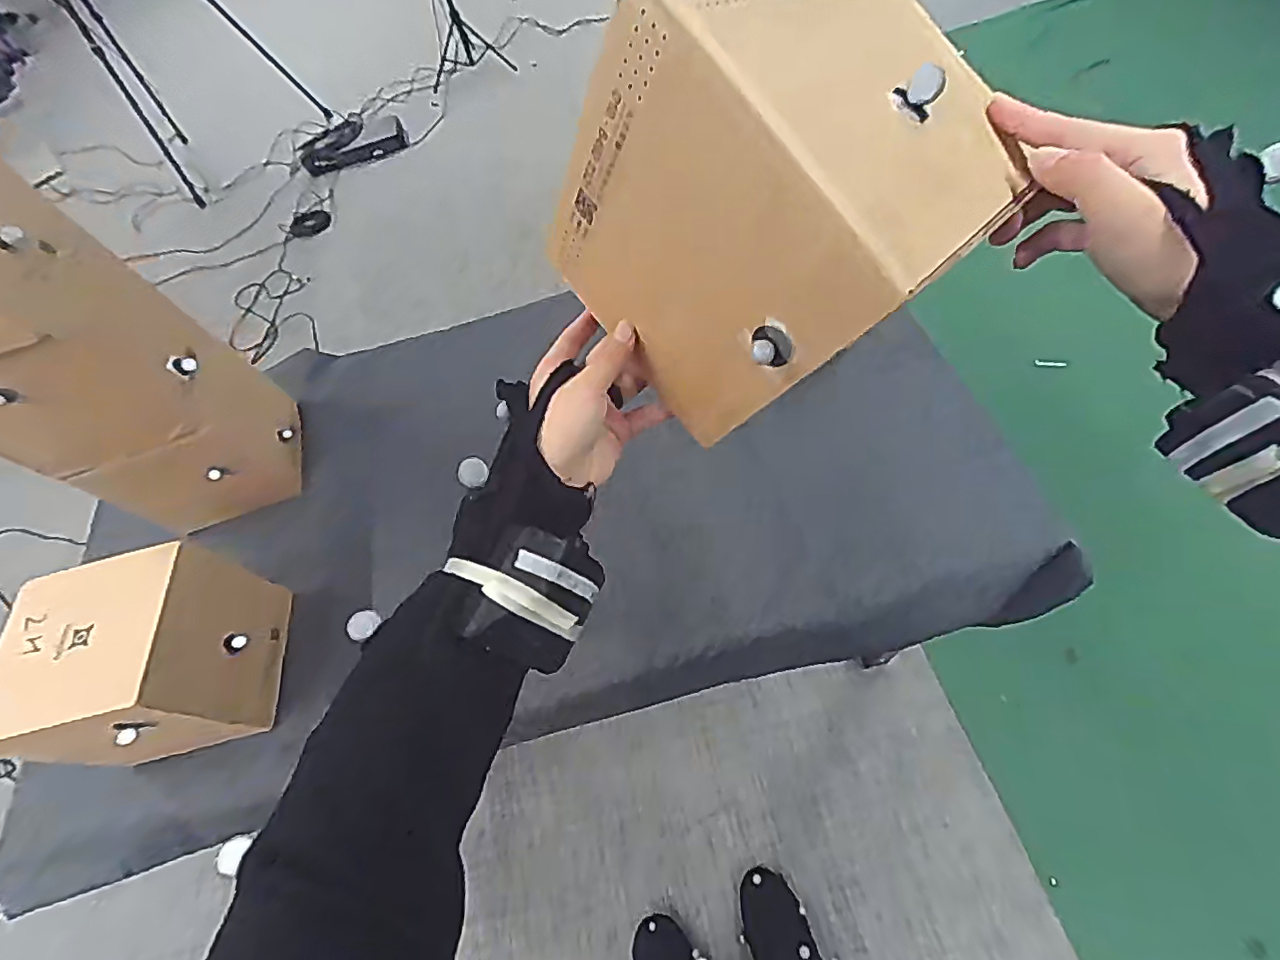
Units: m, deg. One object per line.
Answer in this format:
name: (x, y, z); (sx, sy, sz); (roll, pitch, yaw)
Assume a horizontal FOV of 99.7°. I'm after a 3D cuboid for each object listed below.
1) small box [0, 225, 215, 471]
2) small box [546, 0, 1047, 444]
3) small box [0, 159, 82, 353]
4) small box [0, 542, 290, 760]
small box: (-0.619, -0.132, 0.589); (0.179, 0.176, 0.168); (-19, 63, -2)
small box: (0.077, -0.157, 0.312); (0.179, 0.168, 0.176); (-40, 91, -28)
small box: (-0.637, -0.201, 0.441); (0.179, 0.176, 0.168); (-18, 63, -1)
small box: (-0.519, 0.190, 0.581); (0.179, 0.176, 0.168); (-15, 58, 2)
